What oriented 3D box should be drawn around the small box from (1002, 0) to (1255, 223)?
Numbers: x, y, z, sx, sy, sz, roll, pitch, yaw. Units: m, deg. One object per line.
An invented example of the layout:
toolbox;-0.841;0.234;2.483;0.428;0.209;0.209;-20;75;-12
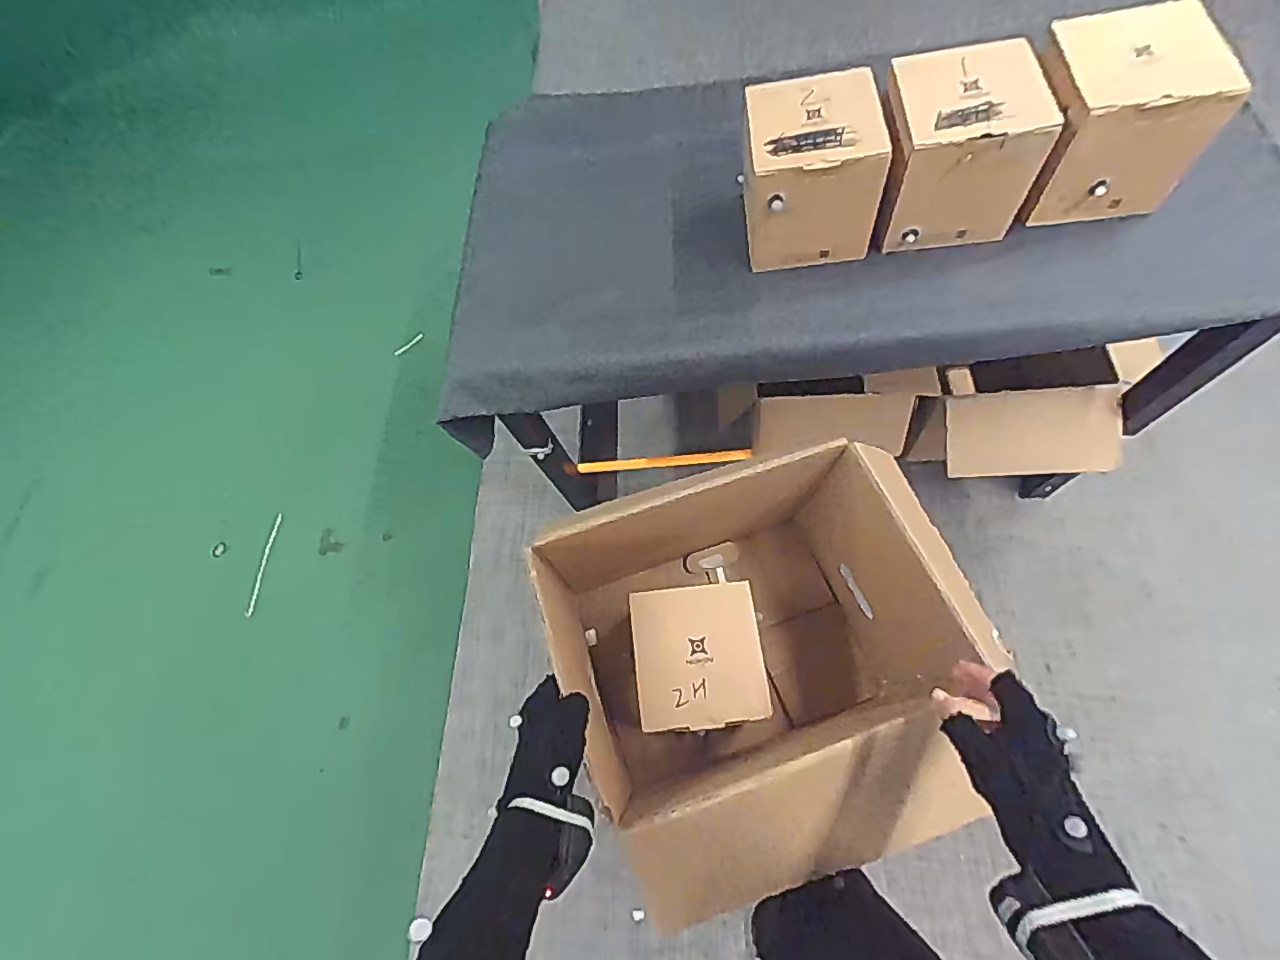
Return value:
small box;0.616;-0.476;0.715;0.168;0.176;0.179;-3;67;10
